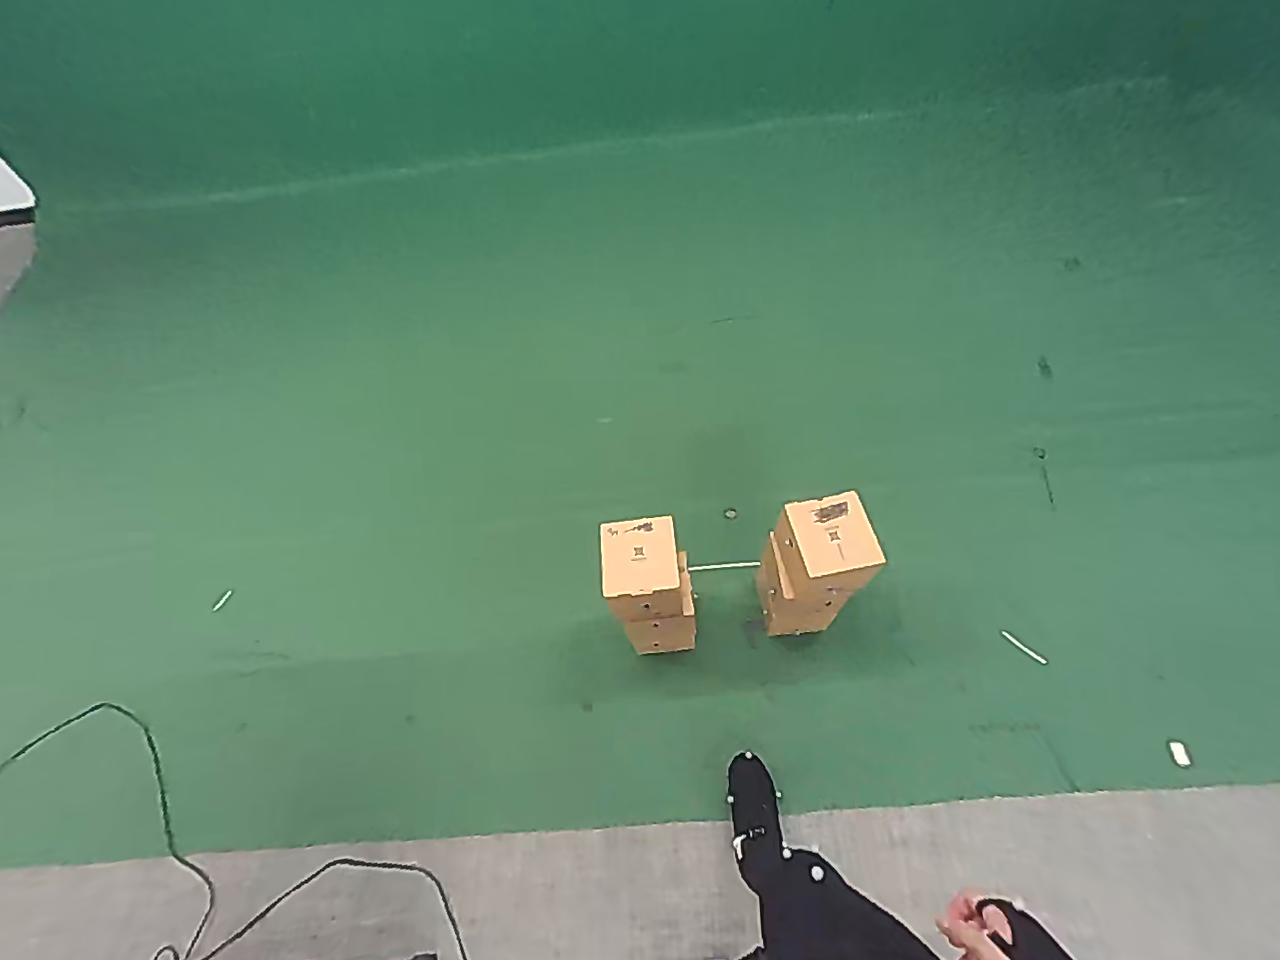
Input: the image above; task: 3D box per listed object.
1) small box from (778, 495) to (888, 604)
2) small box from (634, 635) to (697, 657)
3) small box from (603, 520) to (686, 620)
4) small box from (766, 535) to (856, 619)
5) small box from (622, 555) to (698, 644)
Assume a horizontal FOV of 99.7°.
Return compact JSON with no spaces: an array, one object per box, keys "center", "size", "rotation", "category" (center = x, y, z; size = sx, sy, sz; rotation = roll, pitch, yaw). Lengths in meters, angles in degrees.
[{"center":[0.422,0.160,1.217],"size":[0.168,0.176,0.179],"rotation":[-11,61,-1],"category":"small box"},{"center":[0.068,0.387,1.505],"size":[0.168,0.176,0.179],"rotation":[-7,58,3],"category":"small box"},{"center":[0.012,0.212,1.232],"size":[0.168,0.176,0.179],"rotation":[-7,59,4],"category":"small box"},{"center":[0.421,0.243,1.358],"size":[0.168,0.176,0.179],"rotation":[-6,59,1],"category":"small box"},{"center":[0.049,0.307,1.363],"size":[0.179,0.176,0.168],"rotation":[-7,58,2],"category":"small box"}]
